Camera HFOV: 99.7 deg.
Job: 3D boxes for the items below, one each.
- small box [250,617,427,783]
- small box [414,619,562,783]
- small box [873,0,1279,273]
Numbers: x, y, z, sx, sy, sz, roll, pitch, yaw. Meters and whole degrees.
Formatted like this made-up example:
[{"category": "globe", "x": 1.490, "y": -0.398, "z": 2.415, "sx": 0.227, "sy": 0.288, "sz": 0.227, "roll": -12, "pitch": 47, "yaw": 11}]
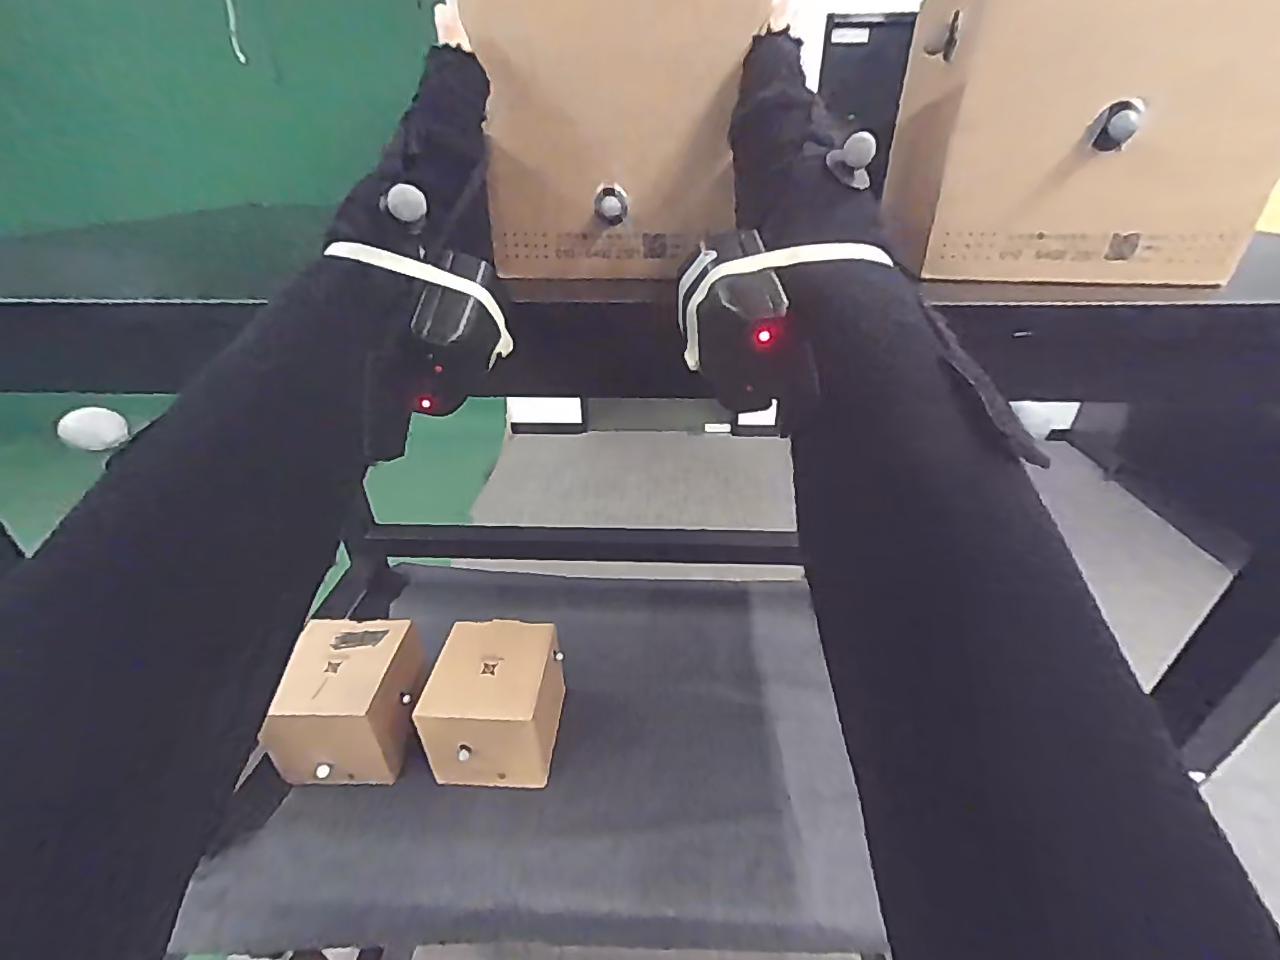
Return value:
[{"category": "small box", "x": -0.445, "y": 0.335, "z": 0.837, "sx": 0.168, "sy": 0.176, "sz": 0.179, "roll": 0, "pitch": 31, "yaw": 1}, {"category": "small box", "x": -0.218, "y": 0.338, "z": 0.832, "sx": 0.168, "sy": 0.176, "sz": 0.179, "roll": 1, "pitch": 30, "yaw": 3}, {"category": "small box", "x": 0.265, "y": -0.238, "z": 0.355, "sx": 0.168, "sy": 0.176, "sz": 0.179, "roll": 6, "pitch": 31, "yaw": 10}]
